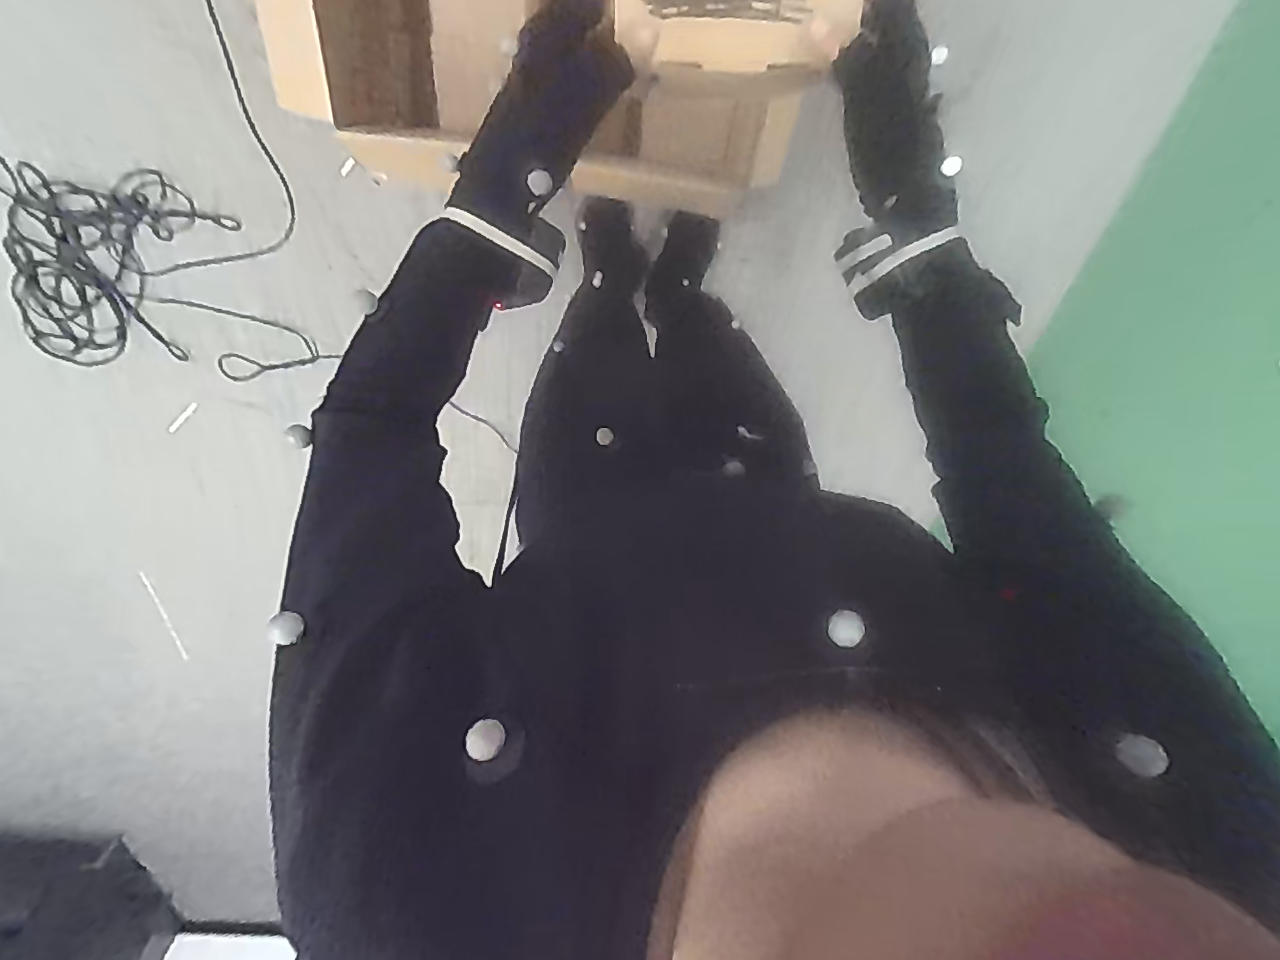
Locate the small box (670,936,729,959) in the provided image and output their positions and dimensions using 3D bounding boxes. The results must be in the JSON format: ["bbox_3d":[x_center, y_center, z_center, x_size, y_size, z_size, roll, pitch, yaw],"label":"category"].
[{"bbox_3d":[0.191,1.574,1.705,0.168,0.176,0.179,6,124,-5],"label":"small box"}]
